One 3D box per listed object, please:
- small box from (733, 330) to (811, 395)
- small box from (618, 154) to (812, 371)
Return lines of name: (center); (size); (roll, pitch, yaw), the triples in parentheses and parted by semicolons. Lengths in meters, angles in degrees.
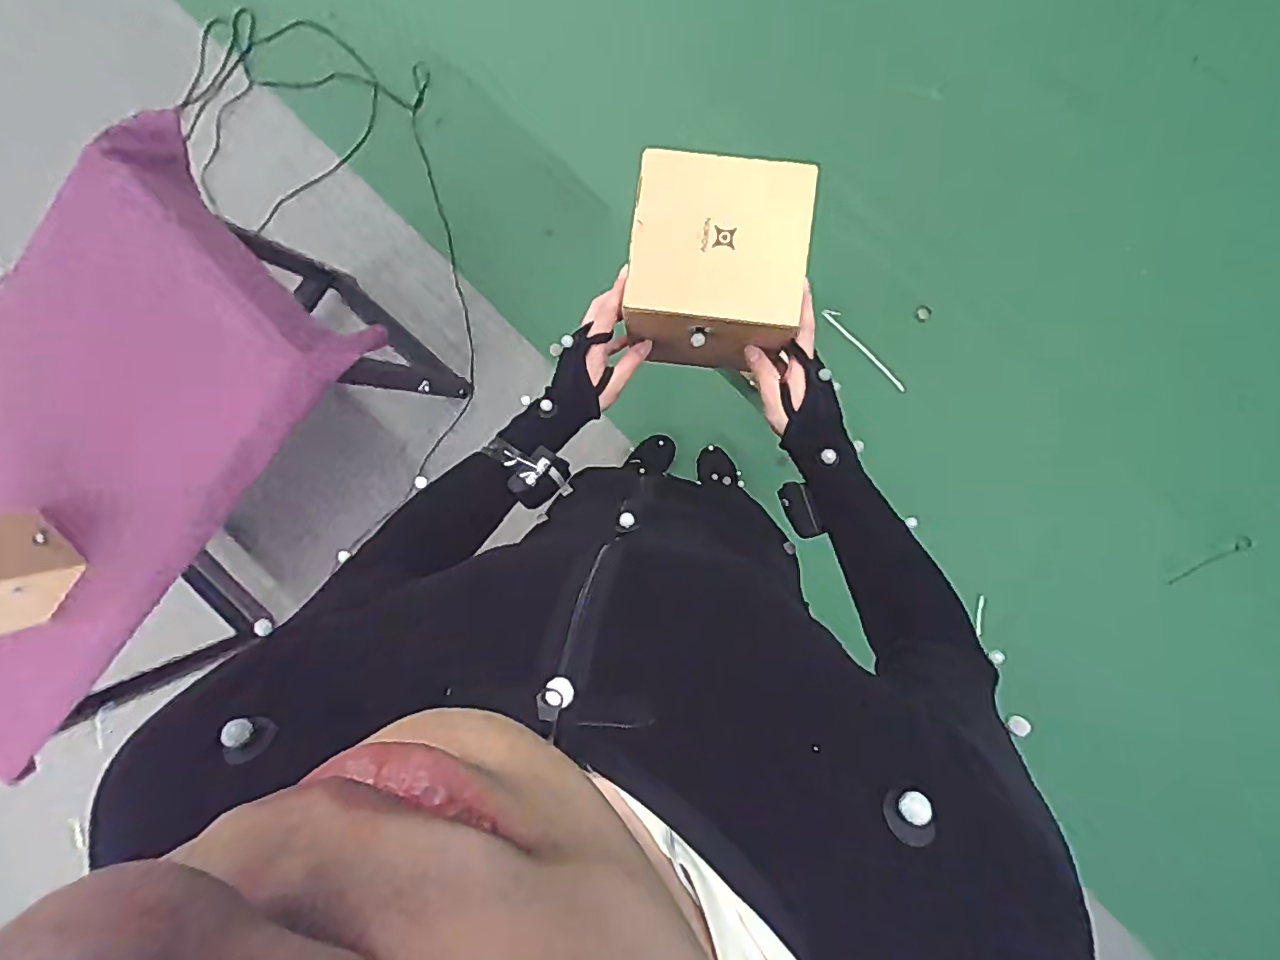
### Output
small box: (0.341, -0.348, 1.486); (0.179, 0.176, 0.168); (45, 98, 4)
small box: (0.078, -0.228, 0.608); (0.179, 0.176, 0.168); (6, 85, 4)
